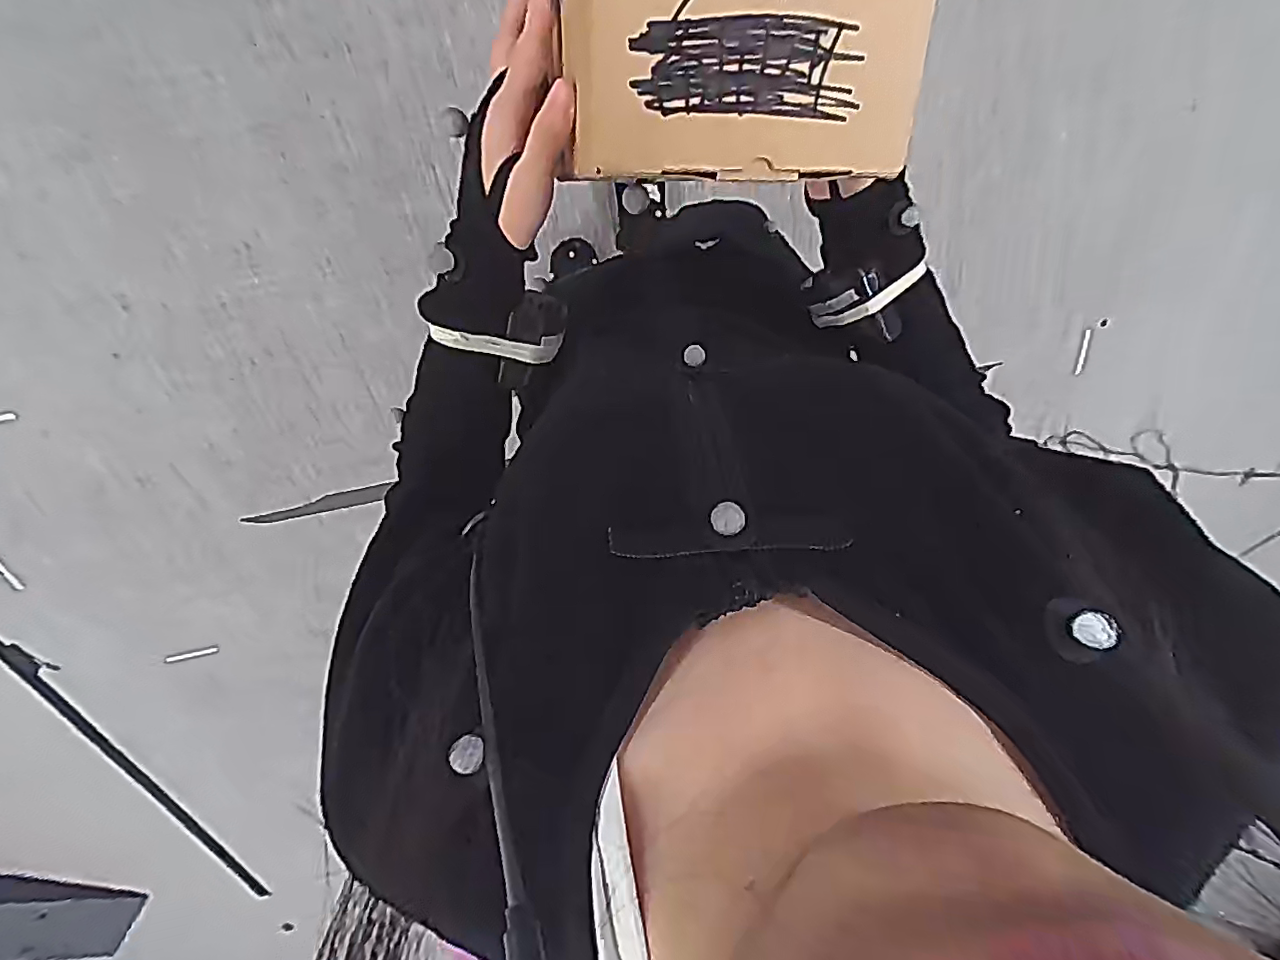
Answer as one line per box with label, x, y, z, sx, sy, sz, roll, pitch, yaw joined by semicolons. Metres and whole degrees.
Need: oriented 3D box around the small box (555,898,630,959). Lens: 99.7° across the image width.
small box;-0.108;1.134;1.278;0.168;0.176;0.179;-8;119;-7
